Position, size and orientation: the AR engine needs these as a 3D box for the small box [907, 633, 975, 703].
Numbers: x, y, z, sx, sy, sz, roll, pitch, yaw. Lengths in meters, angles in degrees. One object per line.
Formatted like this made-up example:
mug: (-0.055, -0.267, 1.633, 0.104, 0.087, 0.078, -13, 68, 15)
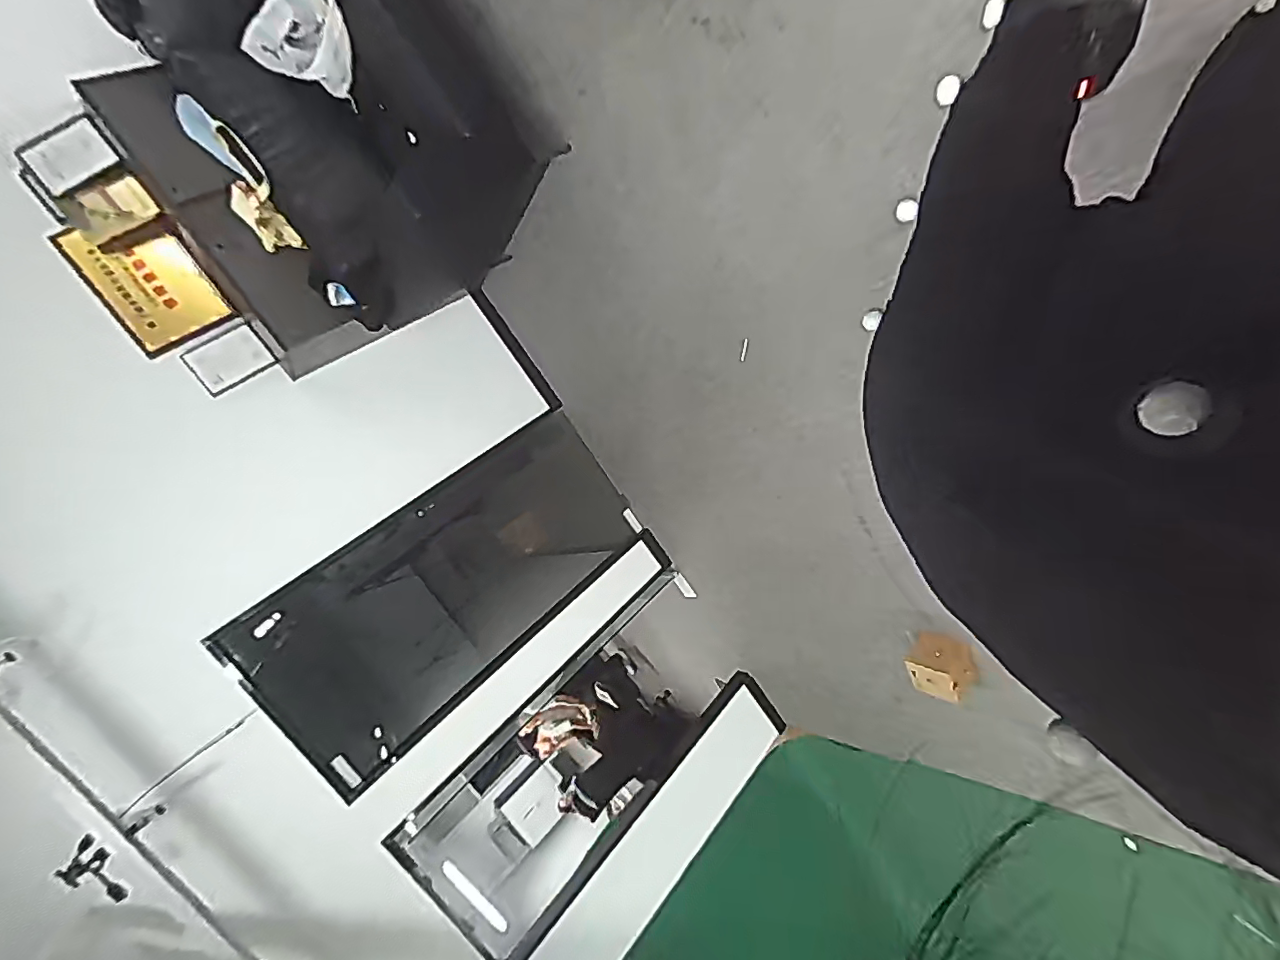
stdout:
small box: (1.180, 0.724, 2.106, 0.179, 0.176, 0.168, 2, 126, 53)
